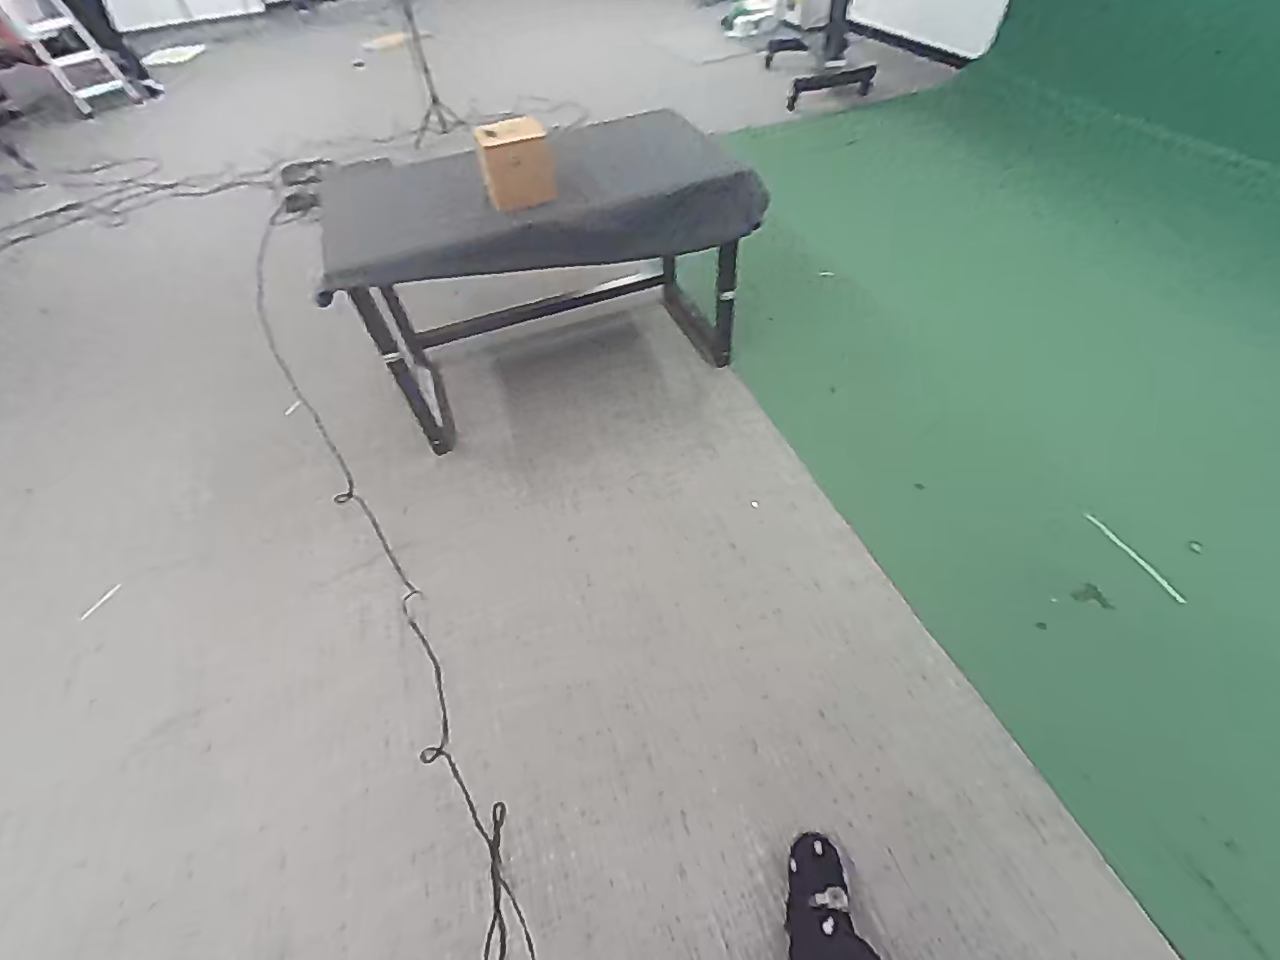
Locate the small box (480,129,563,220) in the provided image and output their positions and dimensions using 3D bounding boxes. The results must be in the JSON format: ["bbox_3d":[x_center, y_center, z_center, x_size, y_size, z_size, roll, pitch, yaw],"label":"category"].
[{"bbox_3d":[-0.333,-0.858,1.527,0.179,0.176,0.168,-19,51,-11],"label":"small box"}]
